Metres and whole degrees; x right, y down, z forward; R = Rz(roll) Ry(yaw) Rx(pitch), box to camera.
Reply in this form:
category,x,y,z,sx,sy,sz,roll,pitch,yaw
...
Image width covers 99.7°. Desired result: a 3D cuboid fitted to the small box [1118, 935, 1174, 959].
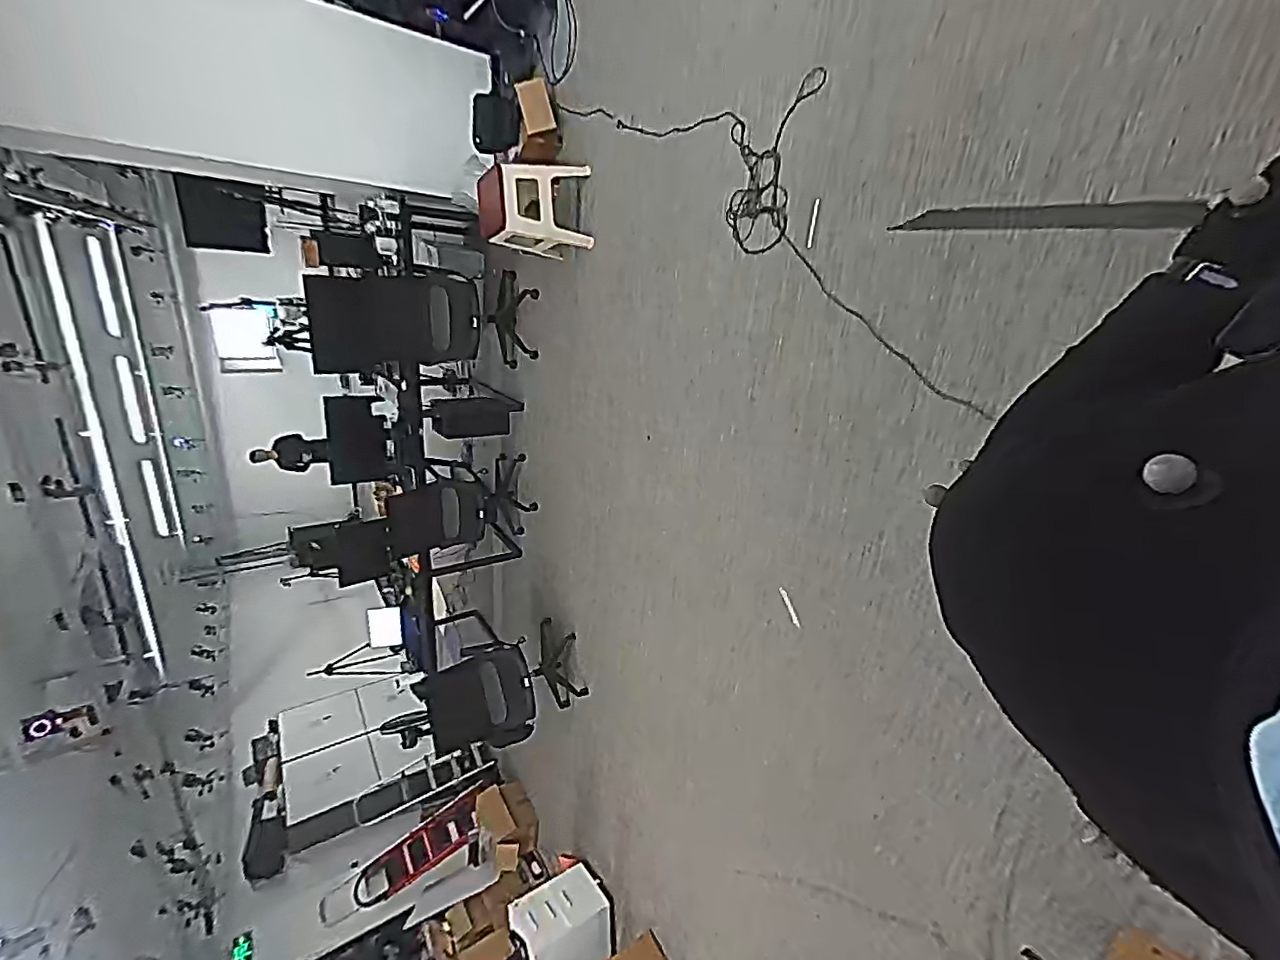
category,x,y,z,sx,sy,sz,roll,pitch,yaw
small box,1.135,1.171,1.182,0.168,0.176,0.179,22,115,52
